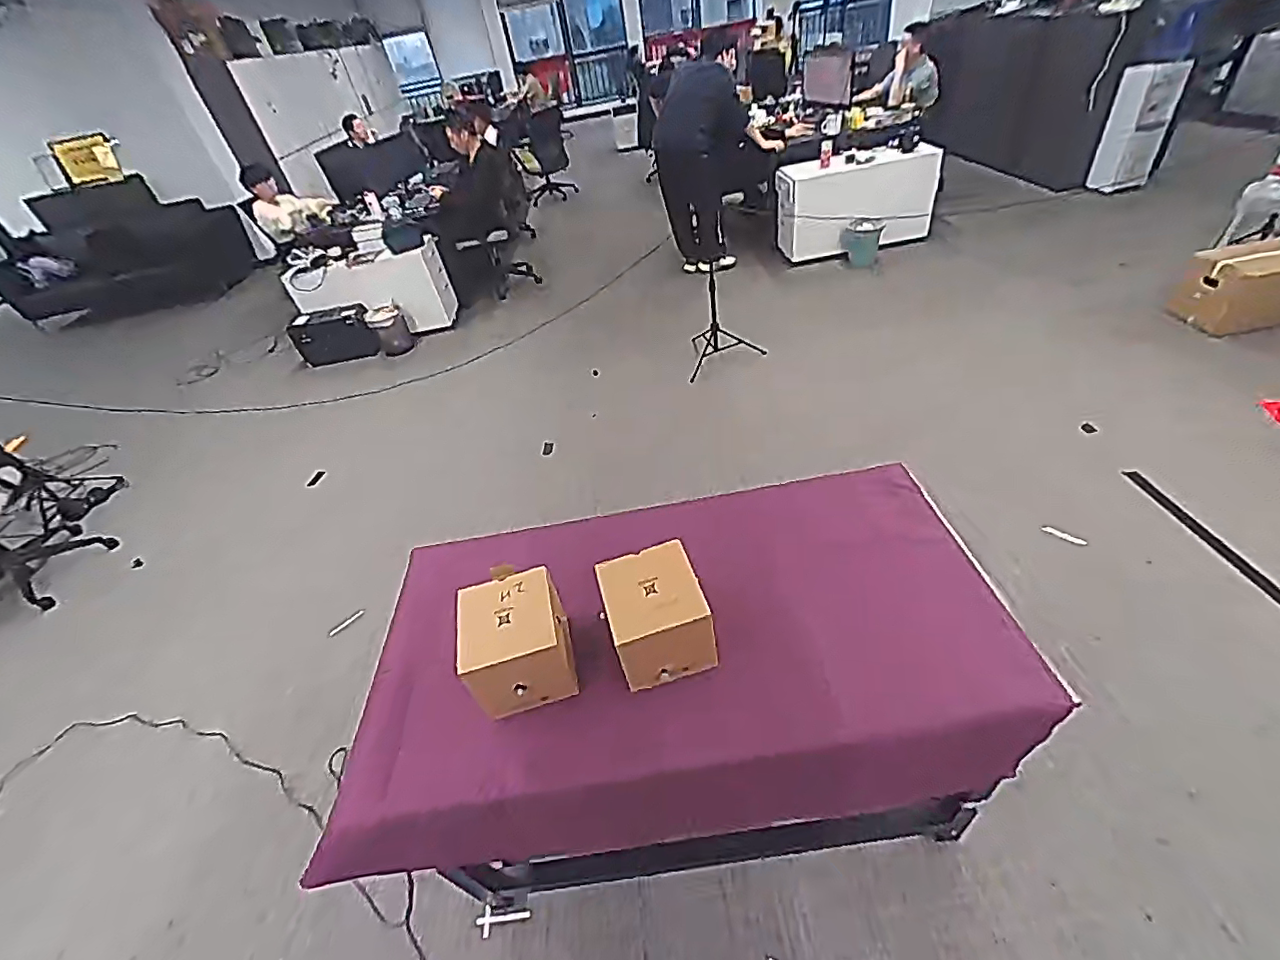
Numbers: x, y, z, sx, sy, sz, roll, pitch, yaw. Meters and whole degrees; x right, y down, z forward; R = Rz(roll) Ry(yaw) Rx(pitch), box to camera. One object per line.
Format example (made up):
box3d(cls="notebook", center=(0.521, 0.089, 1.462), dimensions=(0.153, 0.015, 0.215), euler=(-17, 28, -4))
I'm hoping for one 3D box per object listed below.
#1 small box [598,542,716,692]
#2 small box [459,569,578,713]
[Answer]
box3d(cls="small box", center=(0.031, 0.248, 0.982), dimensions=(0.168, 0.176, 0.179), euler=(-17, 41, -5))
box3d(cls="small box", center=(-0.218, 0.297, 0.982), dimensions=(0.168, 0.176, 0.179), euler=(-15, 41, -5))
